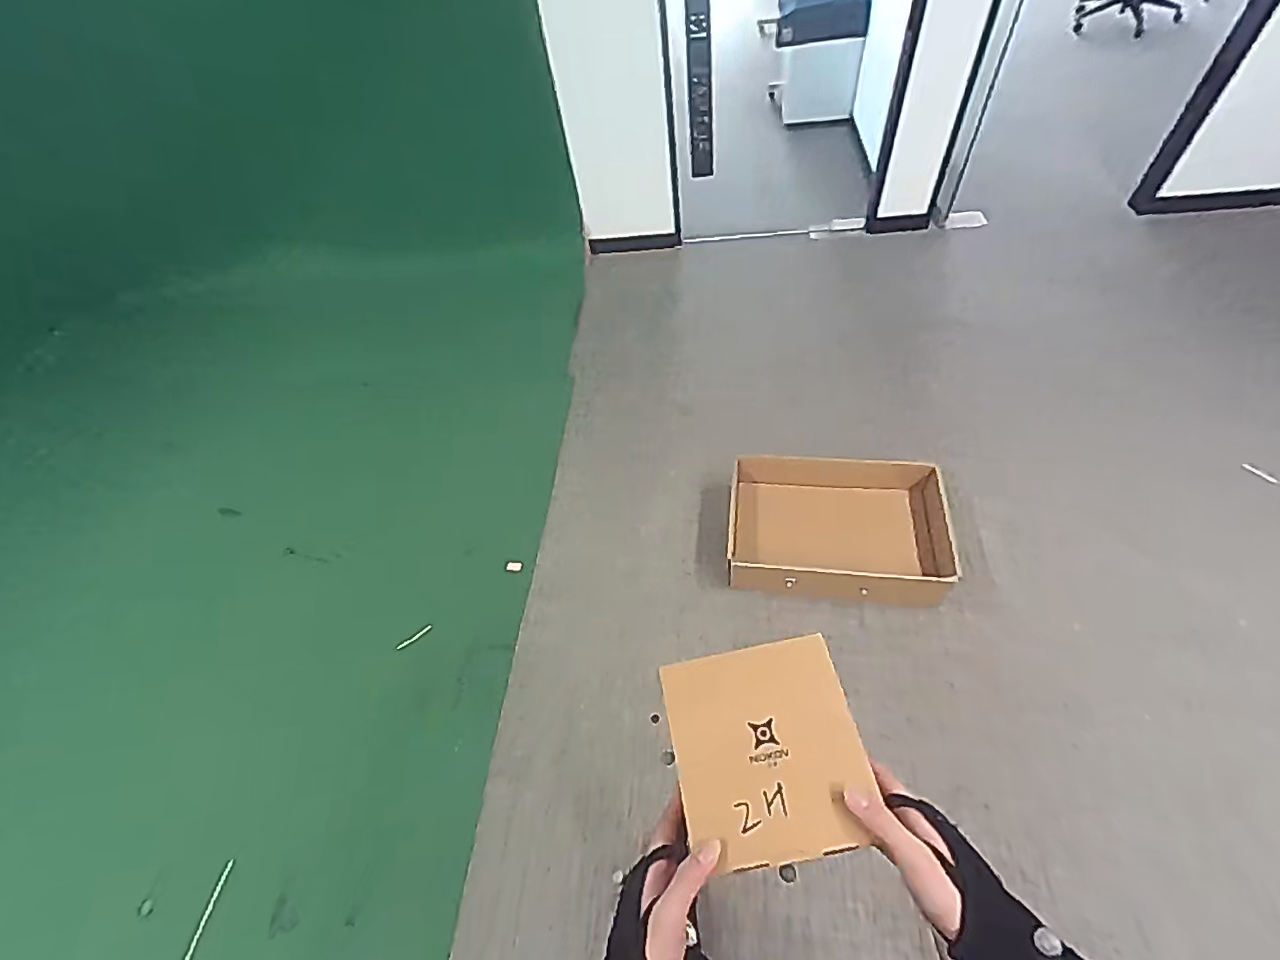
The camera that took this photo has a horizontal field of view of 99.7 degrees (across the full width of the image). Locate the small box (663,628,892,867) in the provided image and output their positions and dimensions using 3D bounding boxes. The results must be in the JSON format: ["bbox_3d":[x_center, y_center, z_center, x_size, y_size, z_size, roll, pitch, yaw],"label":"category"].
[{"bbox_3d":[0.123,0.274,0.548,0.168,0.176,0.179,-12,55,2],"label":"small box"}]
